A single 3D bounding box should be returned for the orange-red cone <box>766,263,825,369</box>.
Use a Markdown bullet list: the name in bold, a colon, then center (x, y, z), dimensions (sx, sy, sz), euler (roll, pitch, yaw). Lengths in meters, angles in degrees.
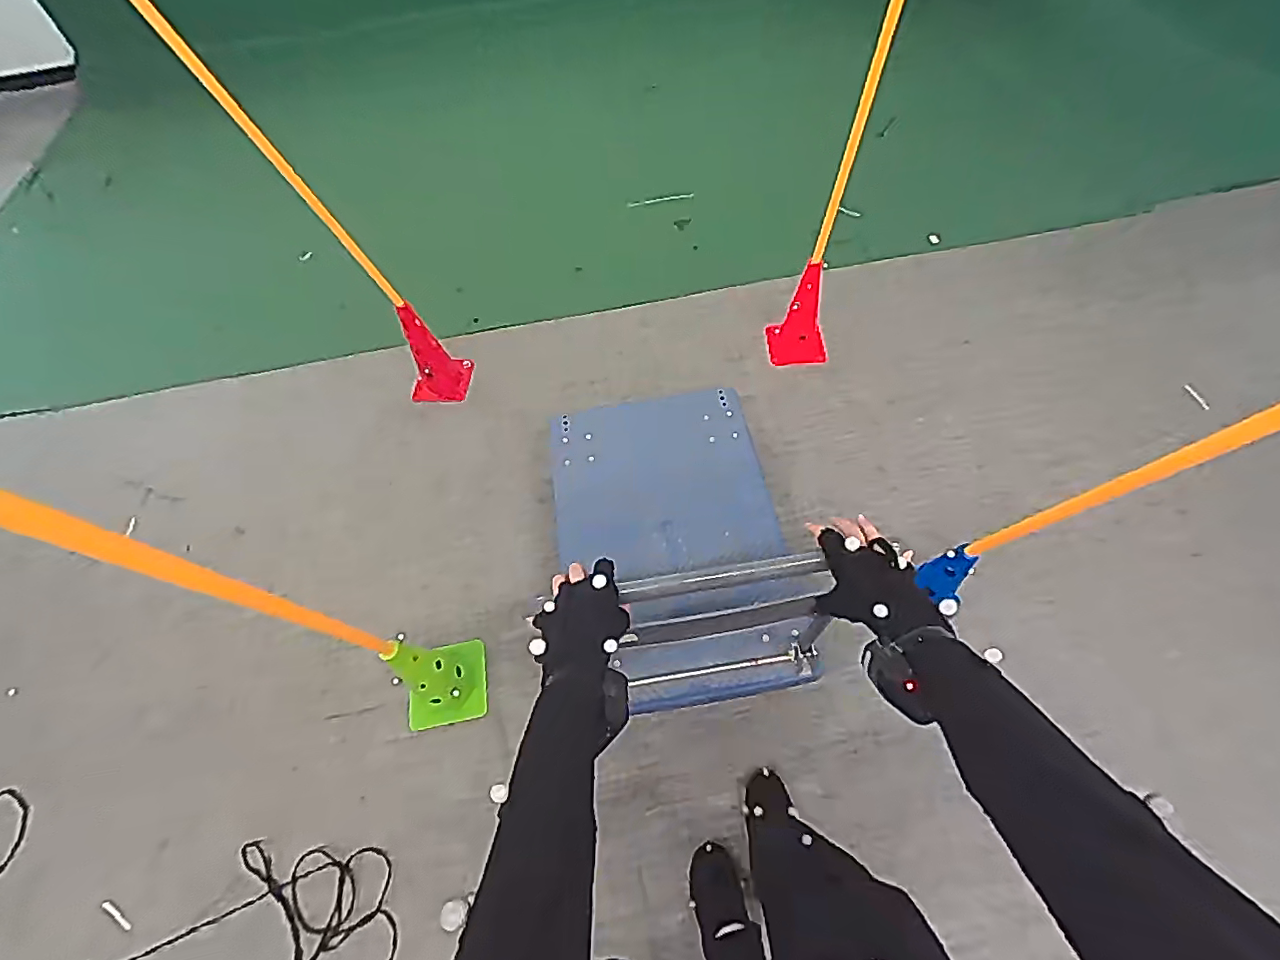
- **orange-red cone**: center (0.552, -0.567, 1.822), dimensions (0.198, 0.360, 0.199), euler (-1, 59, 4)
